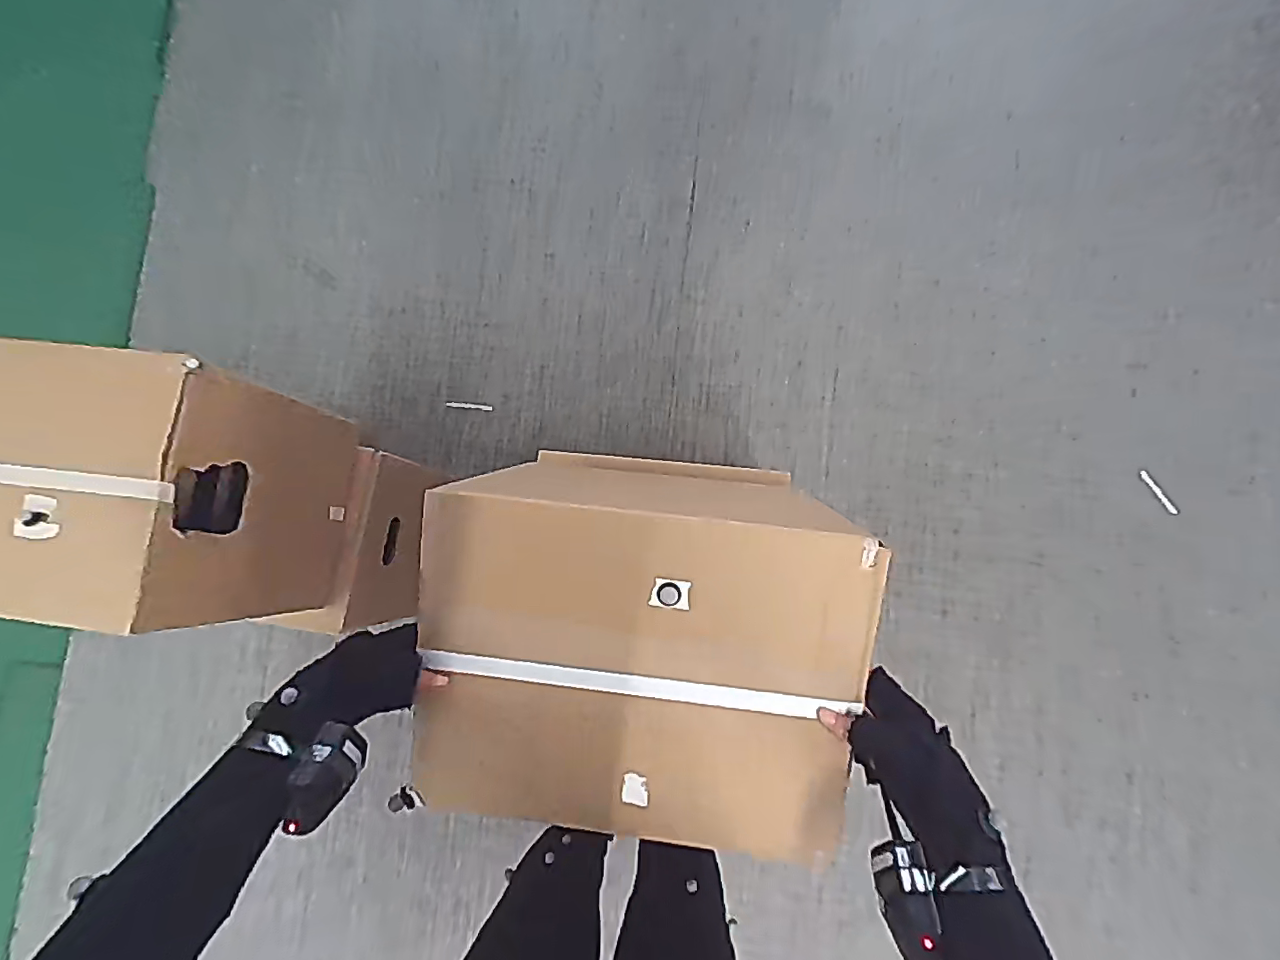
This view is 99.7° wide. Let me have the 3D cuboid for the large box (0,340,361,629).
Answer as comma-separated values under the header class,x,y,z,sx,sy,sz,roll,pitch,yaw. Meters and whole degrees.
class,x,y,z,sx,sy,sz,roll,pitch,yaw
large box,-0.694,0.017,0.763,0.408,0.320,0.320,7,82,5
